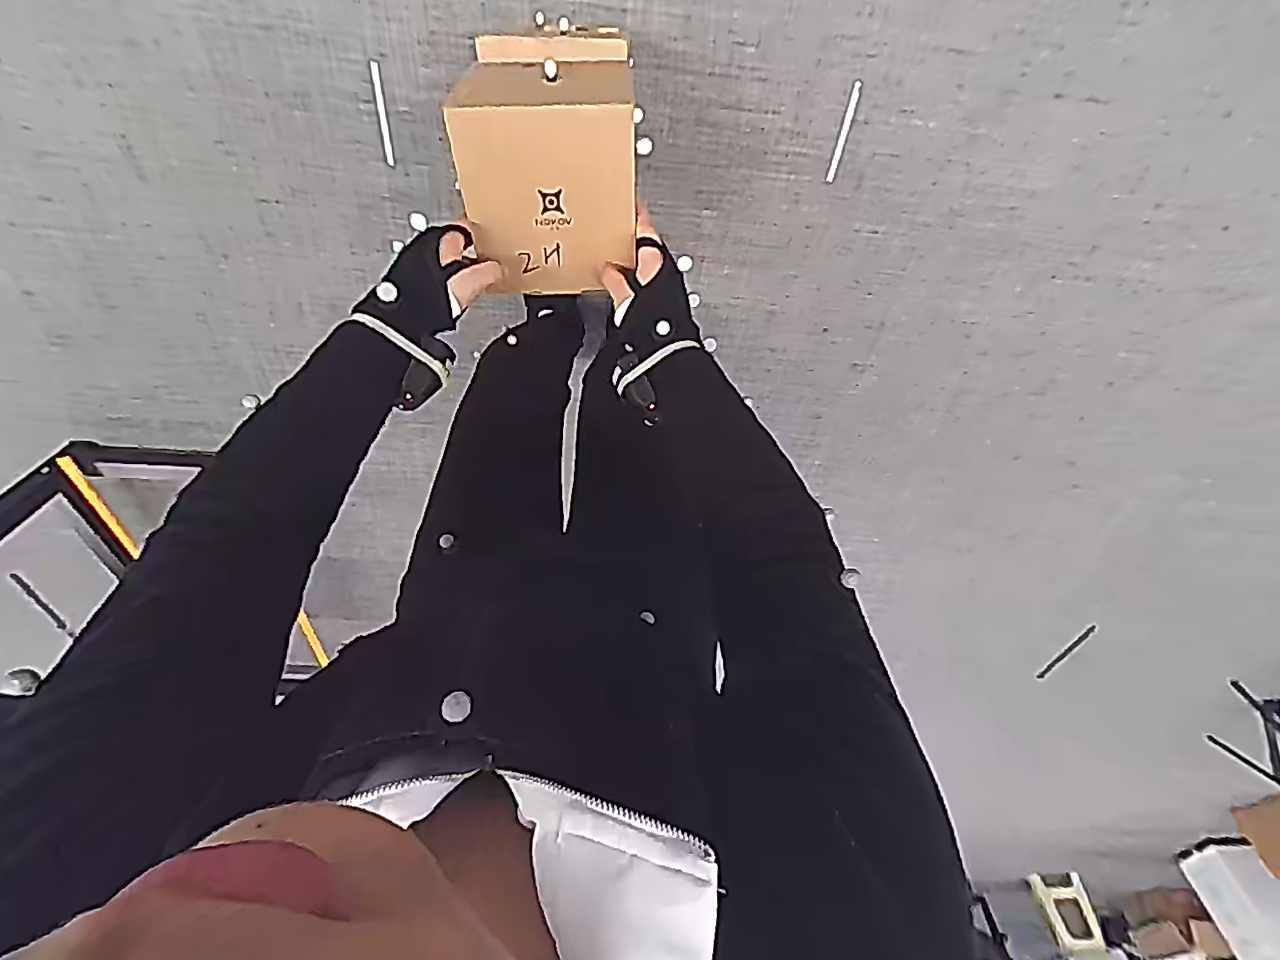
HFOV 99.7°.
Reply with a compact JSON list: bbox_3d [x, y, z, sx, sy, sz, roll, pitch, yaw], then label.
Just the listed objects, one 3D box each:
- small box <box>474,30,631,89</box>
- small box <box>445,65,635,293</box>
[{"bbox_3d":[-0.102,-0.487,0.719,0.179,0.176,0.168,0,132,-1],"label":"small box"},{"bbox_3d":[-0.091,-0.321,0.575,0.168,0.176,0.179,-2,138,-1],"label":"small box"}]
